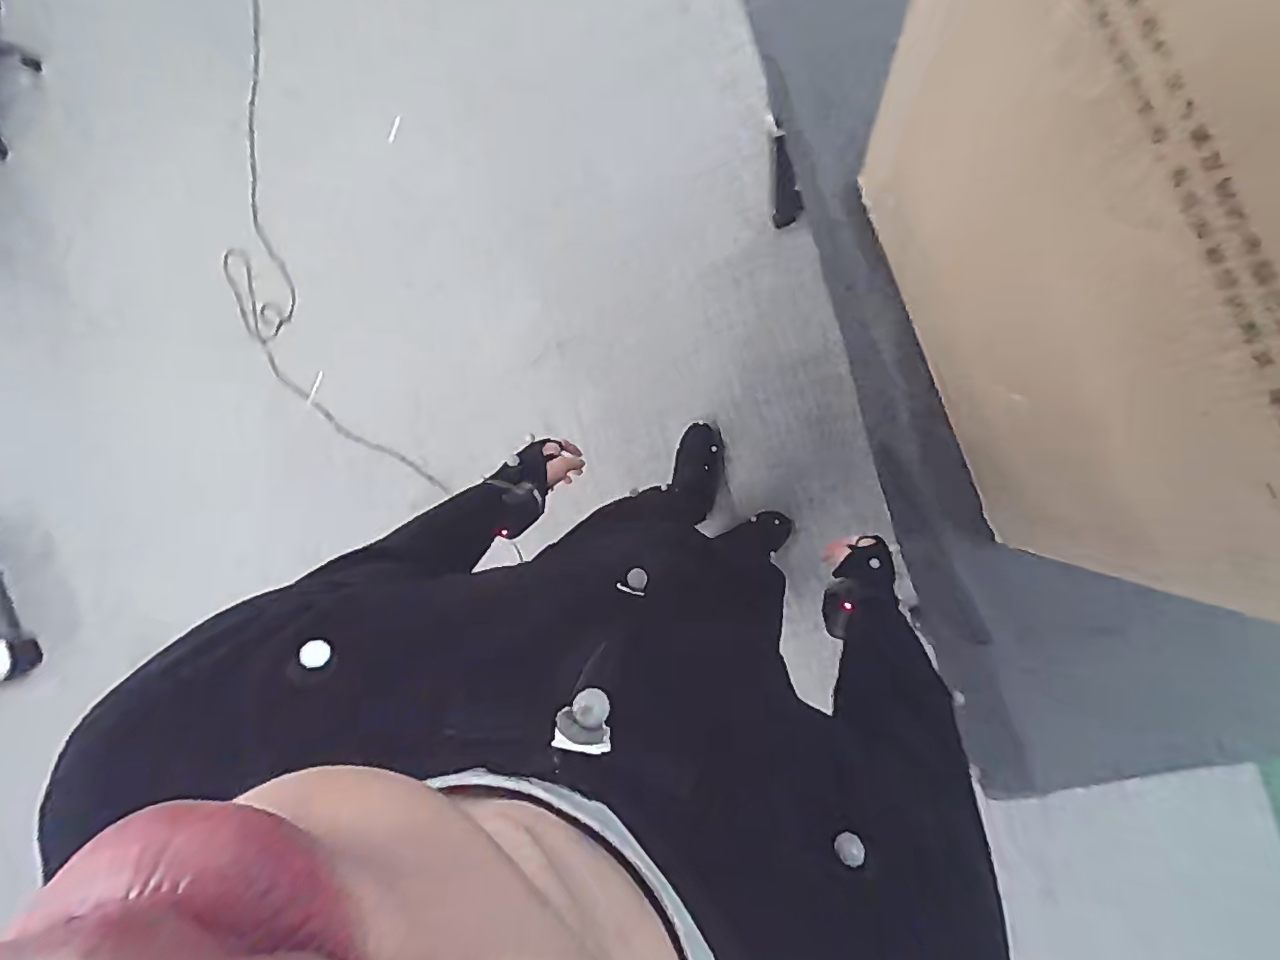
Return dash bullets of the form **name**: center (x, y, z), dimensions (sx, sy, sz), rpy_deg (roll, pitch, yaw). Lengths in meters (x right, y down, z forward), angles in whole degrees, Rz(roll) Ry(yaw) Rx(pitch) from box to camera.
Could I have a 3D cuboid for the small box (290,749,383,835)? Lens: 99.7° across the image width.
- **small box**: center (-0.983, 1.011, 1.762), dimensions (0.179, 0.176, 0.168), rpy_deg (-21, 88, 12)
